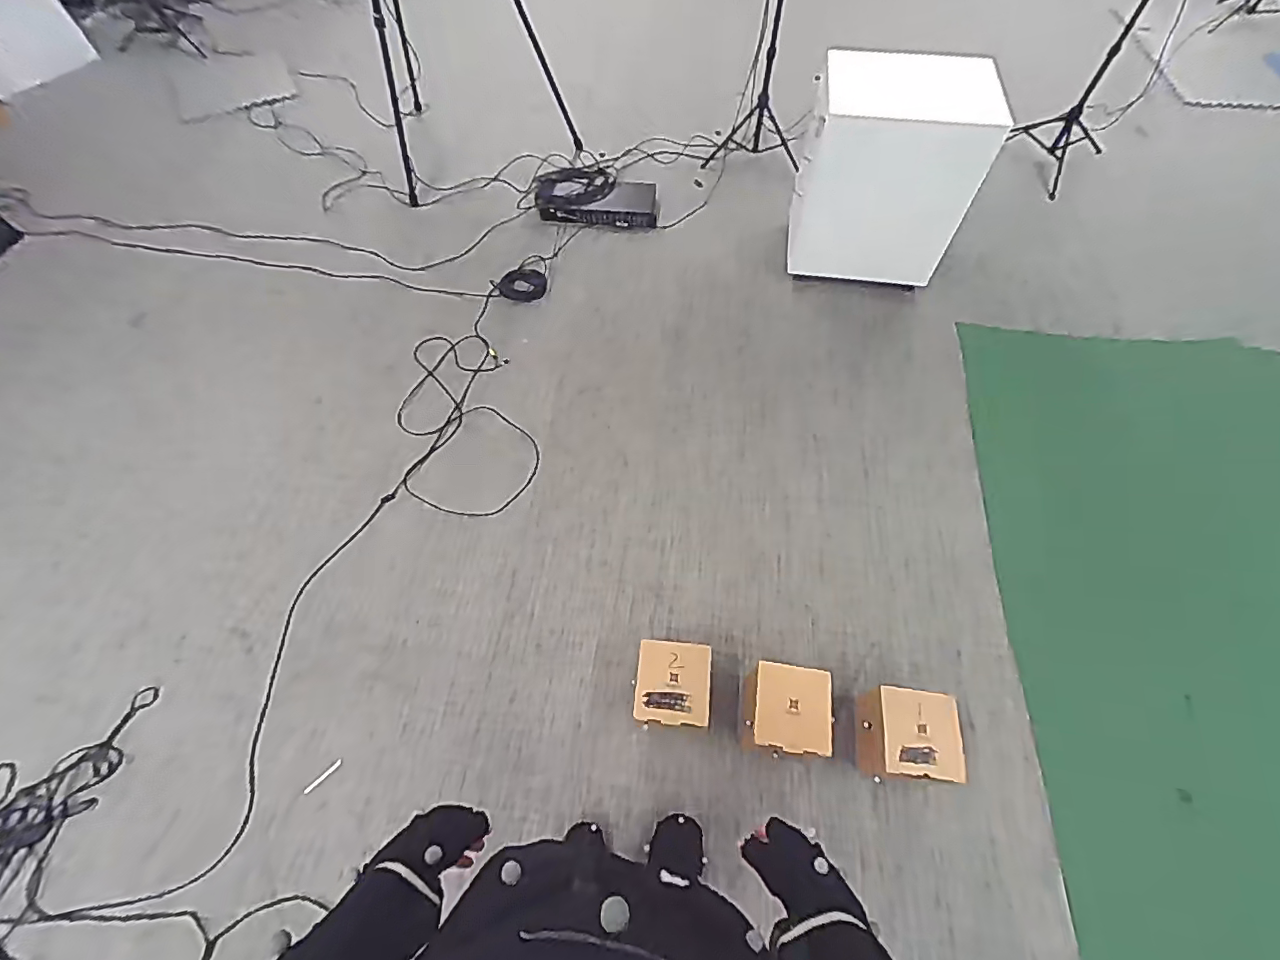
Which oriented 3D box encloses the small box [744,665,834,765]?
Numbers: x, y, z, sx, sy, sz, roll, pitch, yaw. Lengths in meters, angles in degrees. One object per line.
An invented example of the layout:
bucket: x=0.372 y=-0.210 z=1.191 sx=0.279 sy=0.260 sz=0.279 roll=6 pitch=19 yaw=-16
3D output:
small box: x=0.337 y=0.545 z=1.246 sx=0.168 sy=0.176 sz=0.179 roll=8 pitch=61 yaw=5

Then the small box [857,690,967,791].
small box: x=0.602 y=0.589 z=1.218 sx=0.168 sy=0.176 sz=0.179 roll=7 pitch=60 yaw=5
